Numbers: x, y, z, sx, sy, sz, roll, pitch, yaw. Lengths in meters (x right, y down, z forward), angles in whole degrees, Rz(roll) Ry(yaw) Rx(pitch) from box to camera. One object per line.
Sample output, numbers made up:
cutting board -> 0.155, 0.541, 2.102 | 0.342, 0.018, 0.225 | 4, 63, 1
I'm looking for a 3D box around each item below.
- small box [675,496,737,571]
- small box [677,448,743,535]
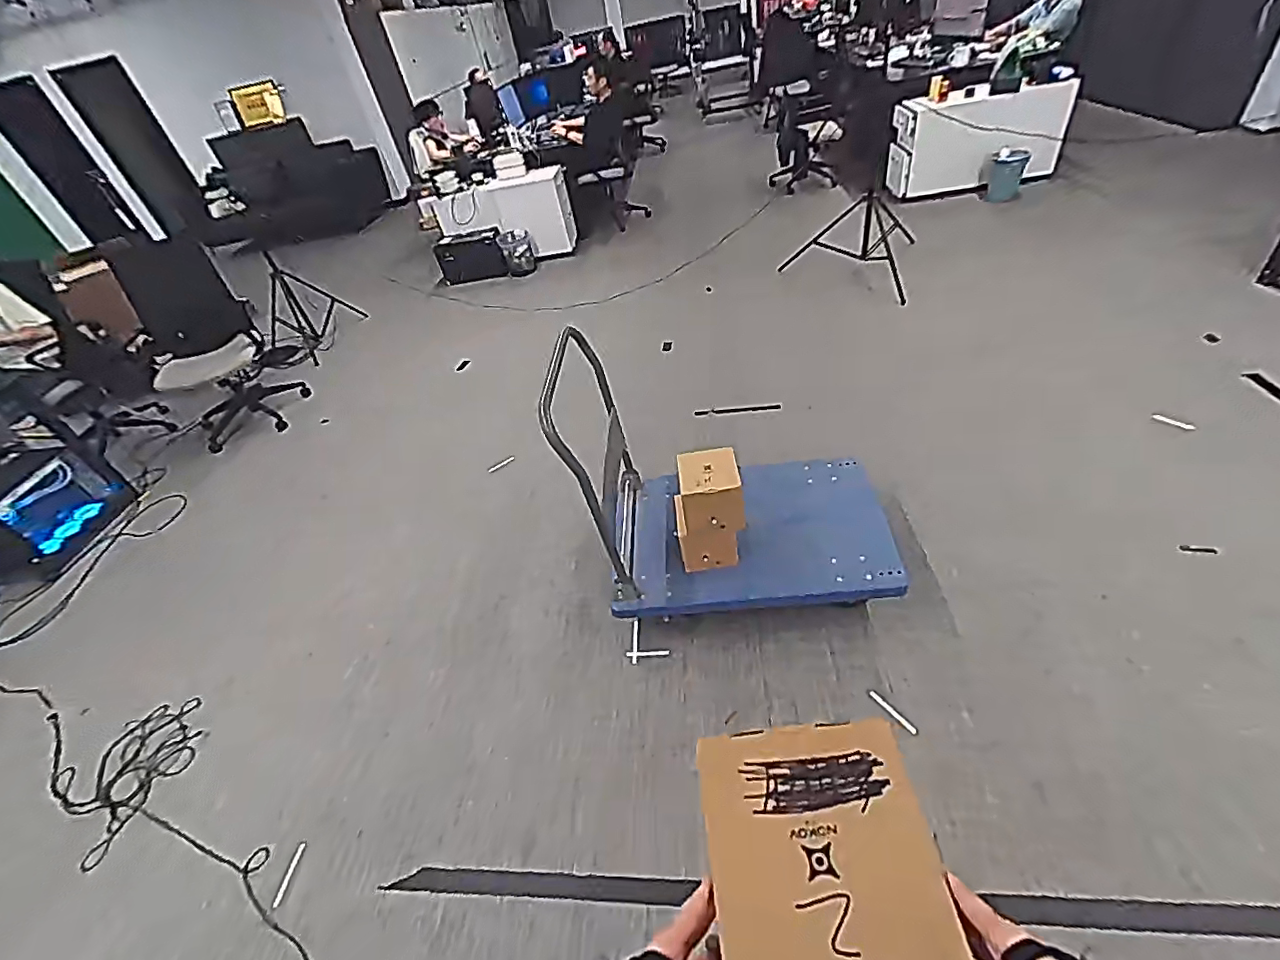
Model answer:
small box -> 0.204, 0.158, 1.675 | 0.168, 0.176, 0.179 | -8, 42, 5
small box -> 0.201, 0.035, 1.563 | 0.168, 0.176, 0.179 | -8, 42, 6
